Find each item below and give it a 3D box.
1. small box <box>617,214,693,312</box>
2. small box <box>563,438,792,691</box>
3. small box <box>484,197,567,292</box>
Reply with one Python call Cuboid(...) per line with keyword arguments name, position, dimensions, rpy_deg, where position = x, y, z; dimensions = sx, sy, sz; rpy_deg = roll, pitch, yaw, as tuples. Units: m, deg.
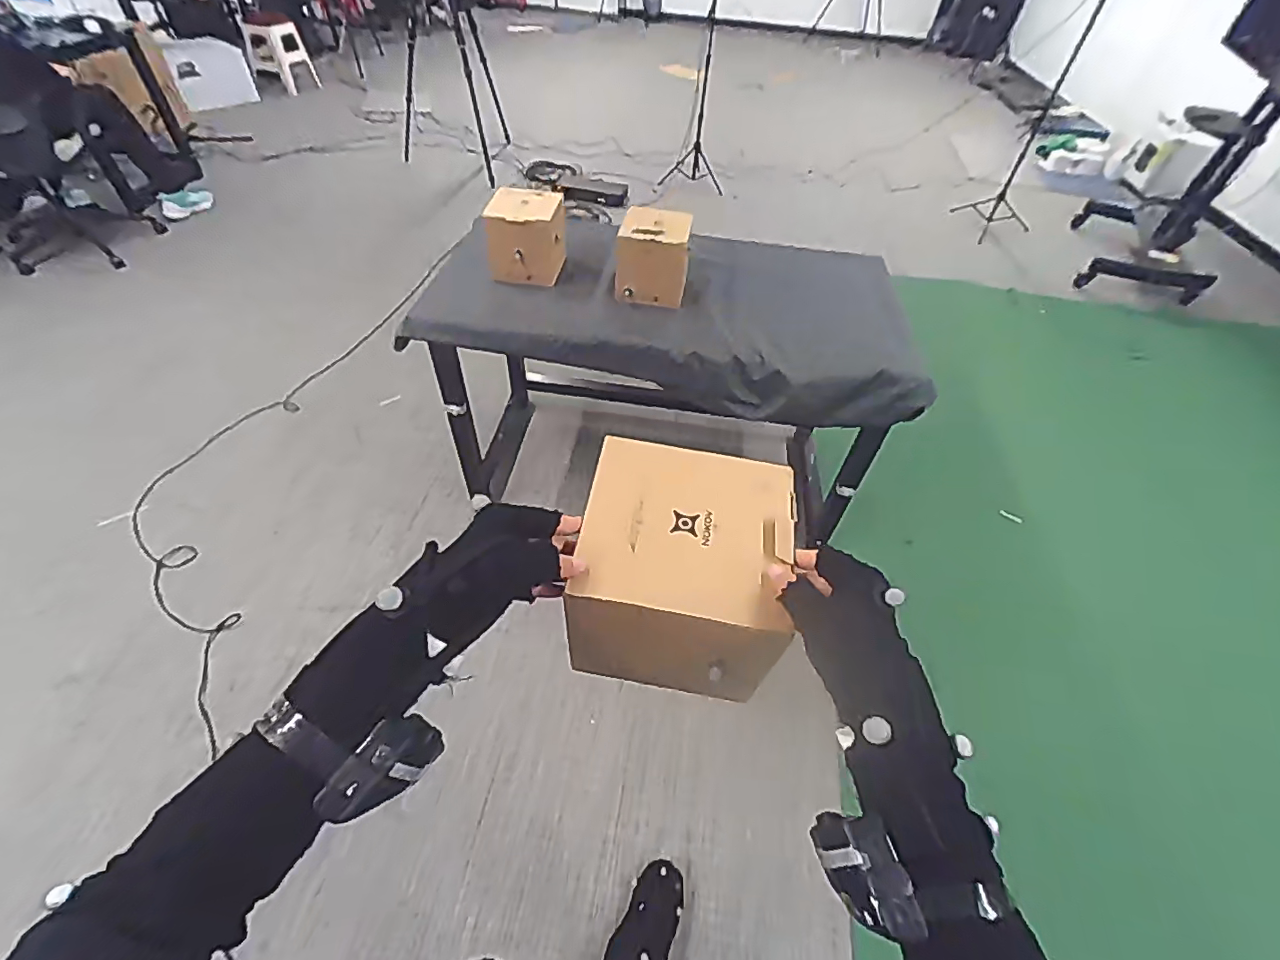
Cuboid(name="small box", position=(0.037, -0.546, 1.368), dimensions=(0.168, 0.176, 0.179), rpy_deg=(9, 47, 4))
Cuboid(name="small box", position=(0.036, 0.086, 0.516), dimensions=(0.179, 0.176, 0.168), rpy_deg=(8, 50, 4))
Cuboid(name="small box", position=(-0.287, -0.608, 1.401), dimensions=(0.168, 0.176, 0.179), rpy_deg=(7, 49, 2))
